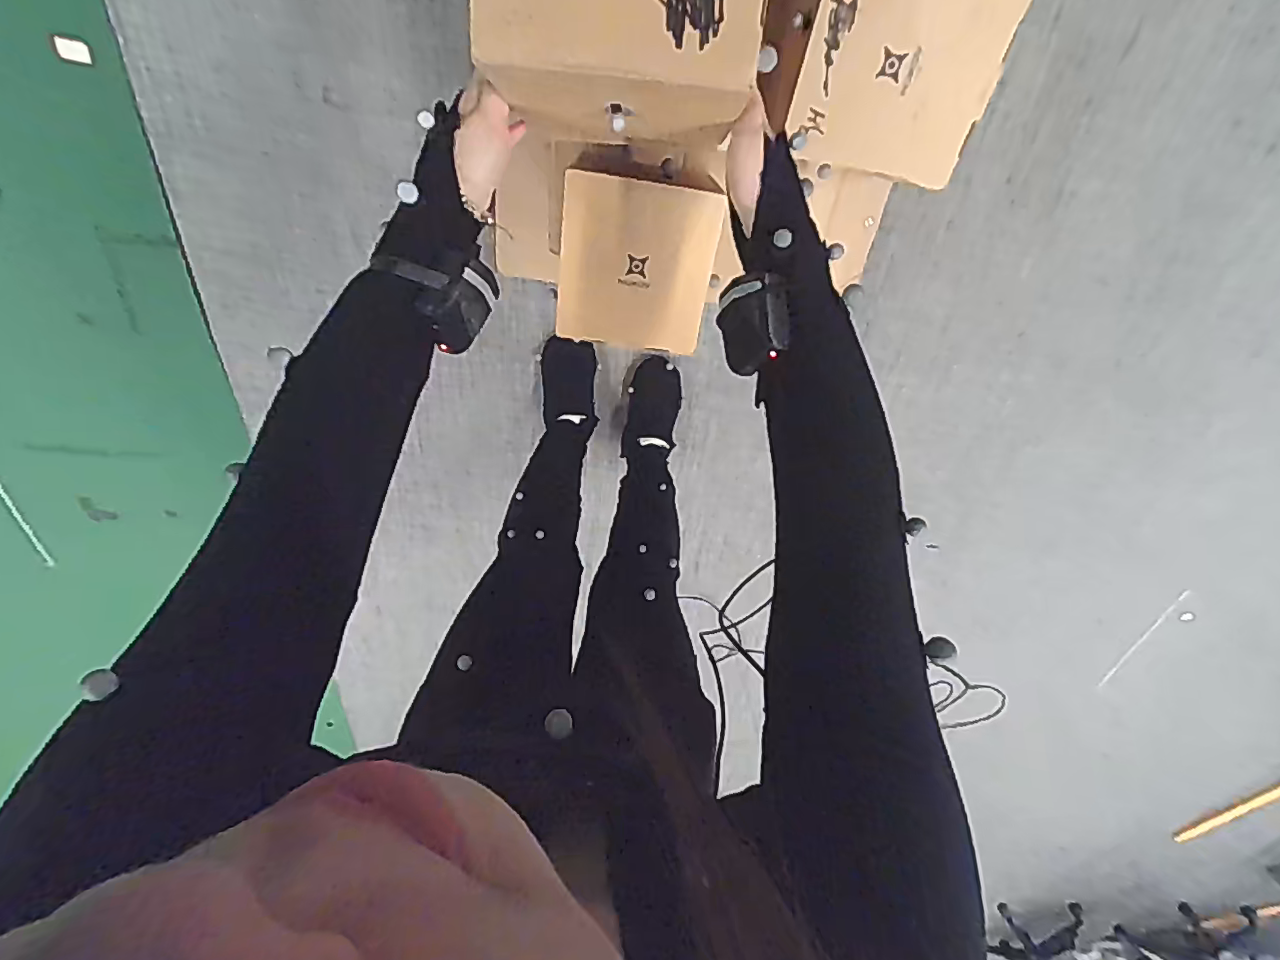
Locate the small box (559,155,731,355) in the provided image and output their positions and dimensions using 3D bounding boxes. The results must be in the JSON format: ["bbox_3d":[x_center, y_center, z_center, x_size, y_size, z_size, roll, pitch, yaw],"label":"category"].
[{"bbox_3d":[-0.003,-0.272,0.645,0.168,0.176,0.179,6,126,-5],"label":"small box"}]

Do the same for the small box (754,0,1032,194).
[{"bbox_3d":[0.232,-0.410,0.549,0.179,0.176,0.168,10,124,-5],"label":"small box"}]
